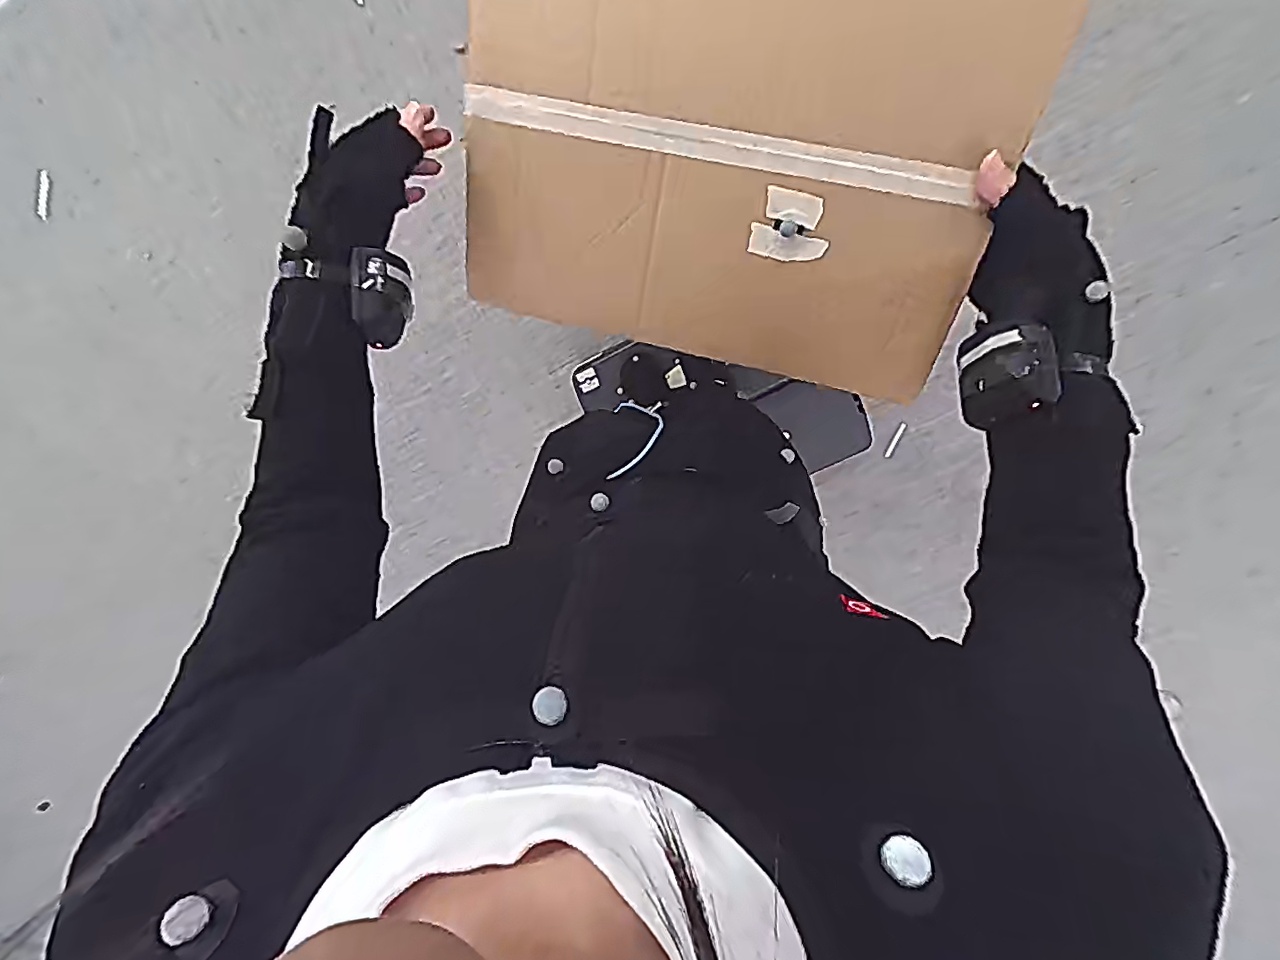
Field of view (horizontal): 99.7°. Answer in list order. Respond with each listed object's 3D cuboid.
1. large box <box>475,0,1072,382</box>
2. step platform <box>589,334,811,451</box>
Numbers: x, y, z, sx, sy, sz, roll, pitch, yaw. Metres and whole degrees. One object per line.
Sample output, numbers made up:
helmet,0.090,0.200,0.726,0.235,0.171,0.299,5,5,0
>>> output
large box,0.093,-0.321,0.532,0.408,0.320,0.320,14,120,8
step platform,0.206,-0.343,1.442,0.684,0.204,0.286,-26,103,11
